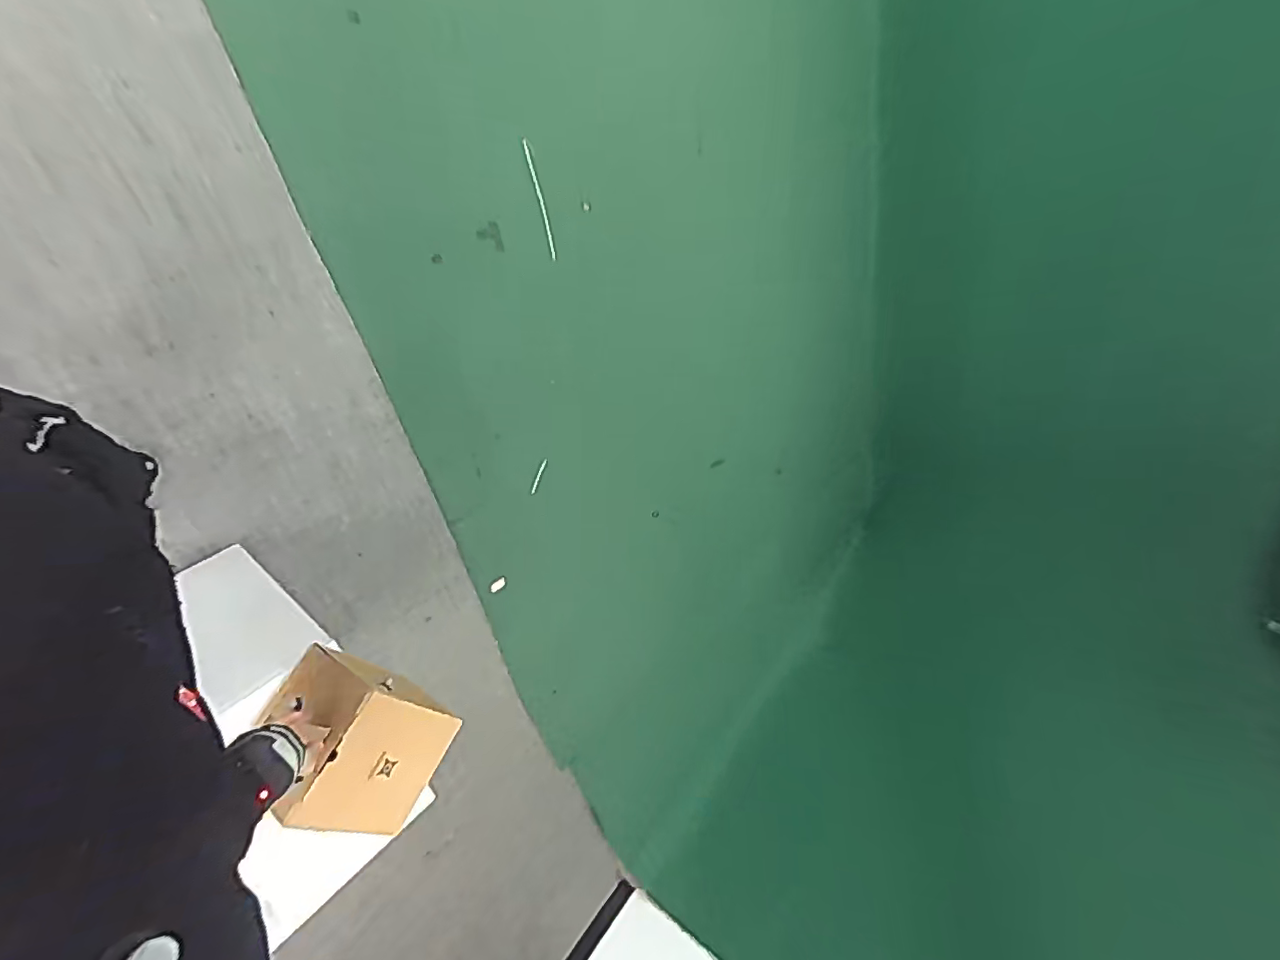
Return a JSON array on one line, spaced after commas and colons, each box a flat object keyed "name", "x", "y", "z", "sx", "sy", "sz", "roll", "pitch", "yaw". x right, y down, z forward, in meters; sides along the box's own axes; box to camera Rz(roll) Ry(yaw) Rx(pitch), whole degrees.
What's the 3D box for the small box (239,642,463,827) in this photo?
[{"name": "small box", "x": -0.391, "y": 0.344, "z": 0.744, "sx": 0.168, "sy": 0.176, "sz": 0.179, "roll": -63, "pitch": 142, "yaw": -20}]
